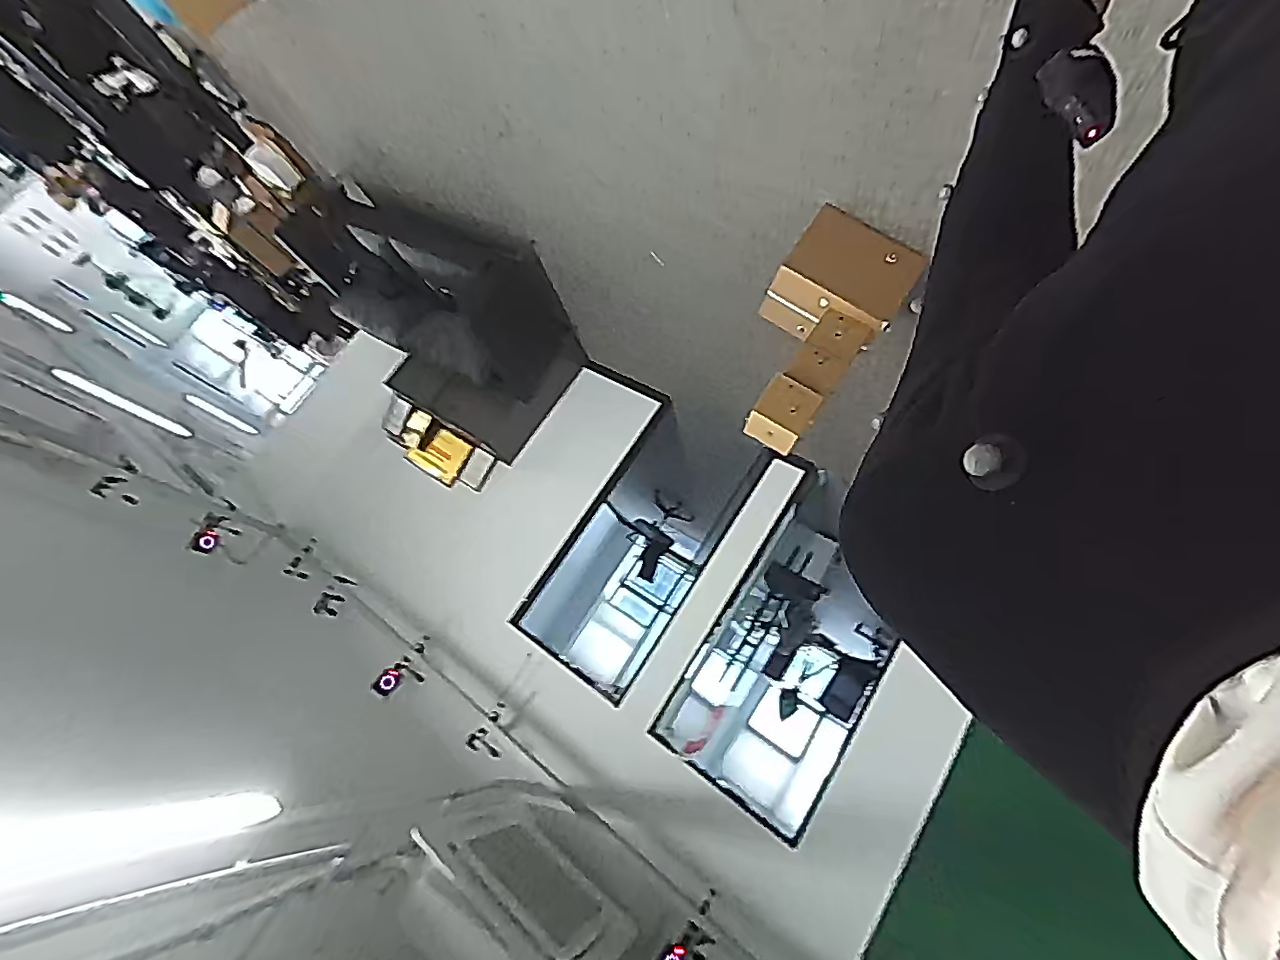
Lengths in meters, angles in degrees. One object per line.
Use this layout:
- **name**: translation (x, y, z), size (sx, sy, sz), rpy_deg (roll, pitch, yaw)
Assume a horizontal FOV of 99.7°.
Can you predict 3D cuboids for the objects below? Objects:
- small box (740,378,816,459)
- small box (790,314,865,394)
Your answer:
- **small box**: translation (0.450, -0.203, 1.763), size (0.168, 0.176, 0.179), rpy_deg (33, 166, 11)
- **small box**: translation (0.651, -0.439, 1.874), size (0.168, 0.176, 0.179), rpy_deg (33, 165, 14)
